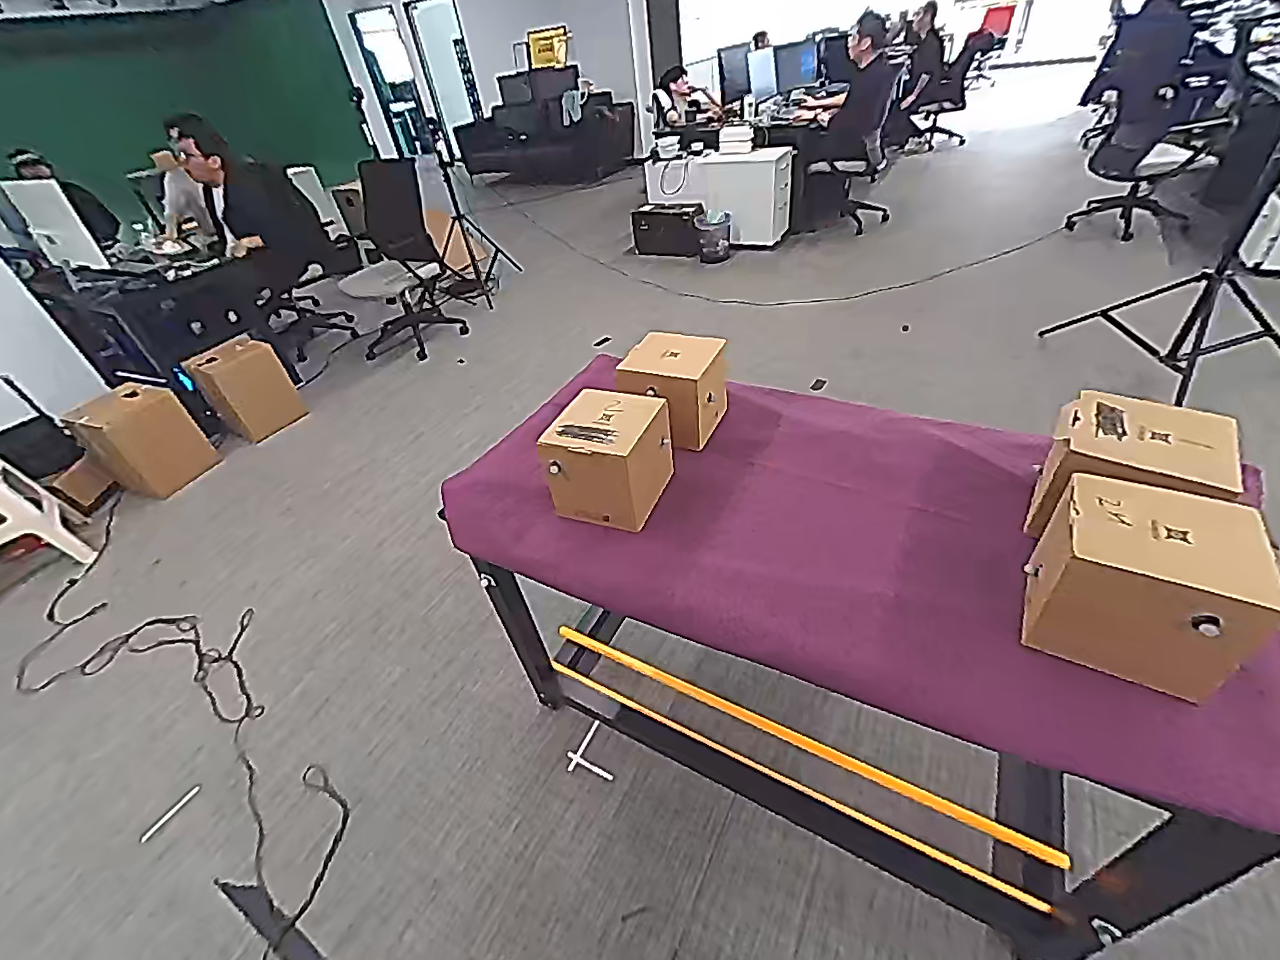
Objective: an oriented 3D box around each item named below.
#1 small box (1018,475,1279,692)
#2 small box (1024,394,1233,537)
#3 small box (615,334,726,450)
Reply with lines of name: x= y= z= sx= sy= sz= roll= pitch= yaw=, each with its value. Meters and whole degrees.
small box: x=0.592 y=0.125 z=0.655 sx=0.179 sy=0.176 sz=0.168 roll=16 pitch=44 yaw=28
small box: x=0.691 y=0.004 z=0.781 sx=0.179 sy=0.176 sz=0.168 roll=21 pitch=50 yaw=30
small box: x=0.071 y=-0.180 z=1.118 sx=0.179 sy=0.176 sz=0.168 roll=13 pitch=44 yaw=24
